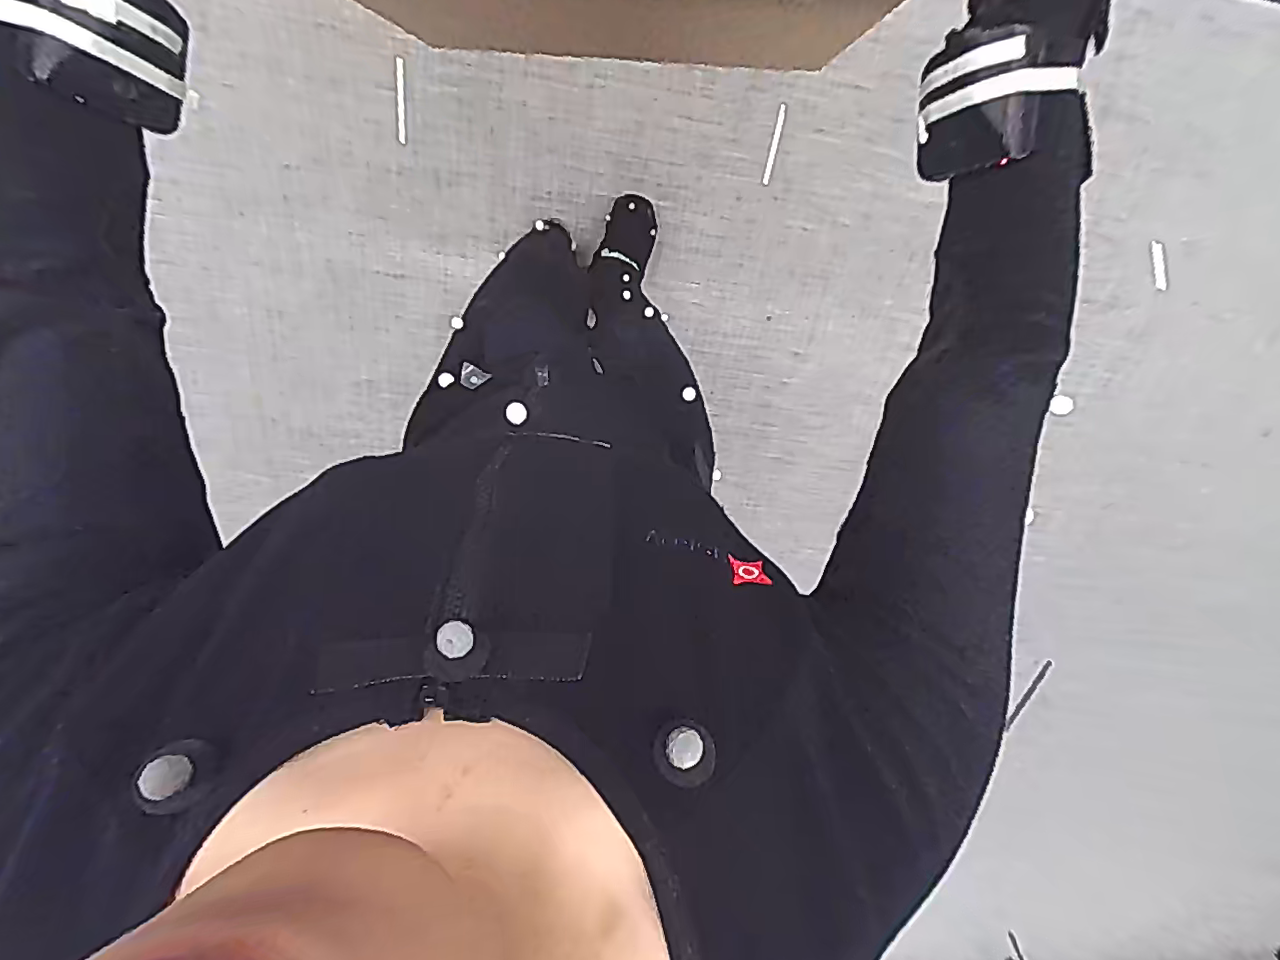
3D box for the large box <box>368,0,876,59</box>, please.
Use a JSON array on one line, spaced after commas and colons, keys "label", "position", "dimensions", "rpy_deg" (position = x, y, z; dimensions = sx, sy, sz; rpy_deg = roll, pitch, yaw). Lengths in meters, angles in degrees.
[{"label": "large box", "position": [-0.017, -0.502, 0.353], "dimensions": [0.408, 0.320, 0.320], "rpy_deg": [3, 119, 0]}]
